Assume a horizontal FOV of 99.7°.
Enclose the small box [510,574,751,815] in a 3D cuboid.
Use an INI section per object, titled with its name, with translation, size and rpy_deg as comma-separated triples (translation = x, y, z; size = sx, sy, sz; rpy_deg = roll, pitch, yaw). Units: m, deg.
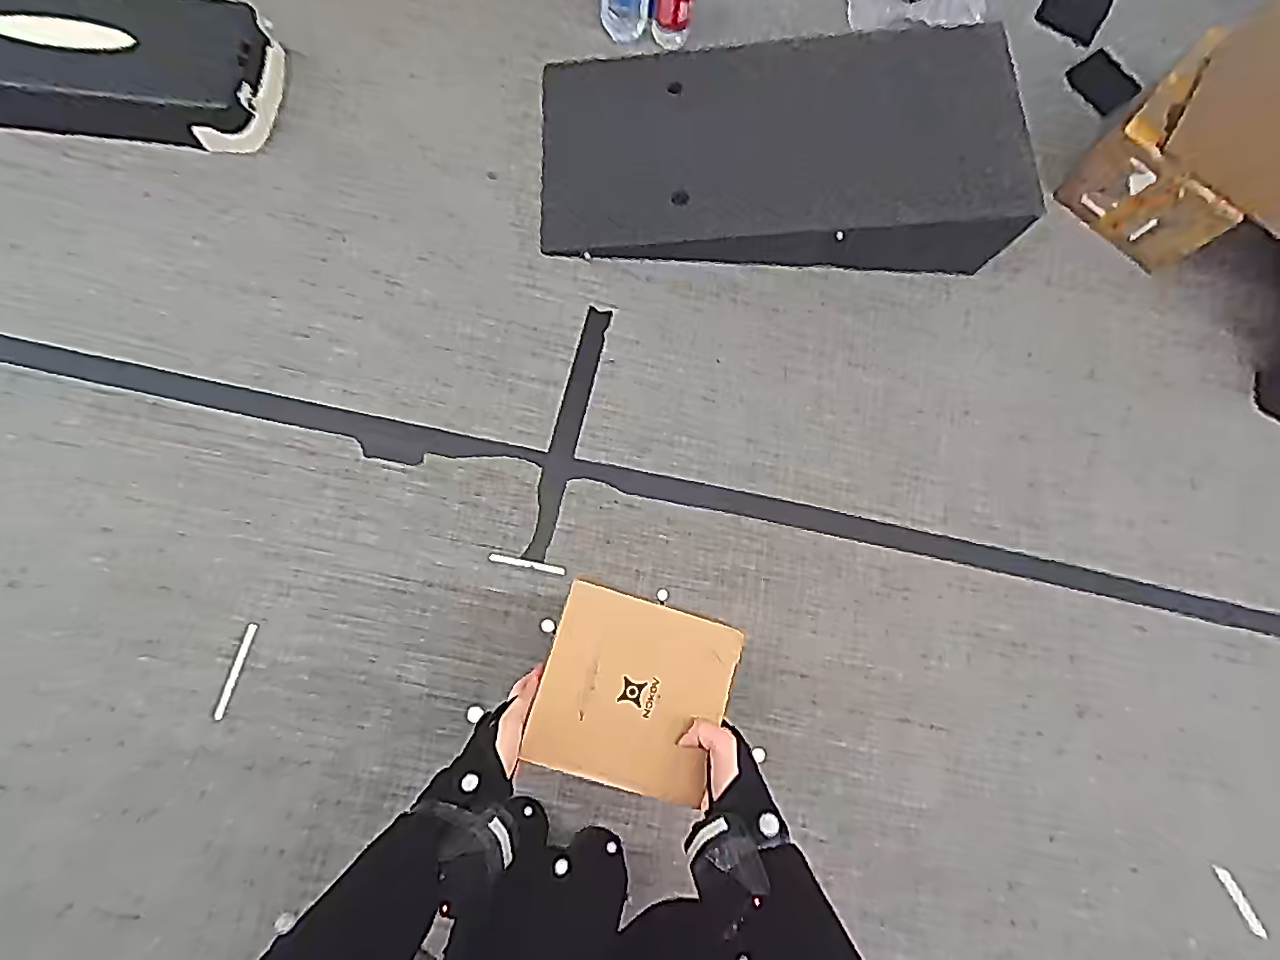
[small box]
translation = -0.014, 0.199, 0.554
size = 0.179, 0.176, 0.168
rpy_deg = 19, 80, -4
